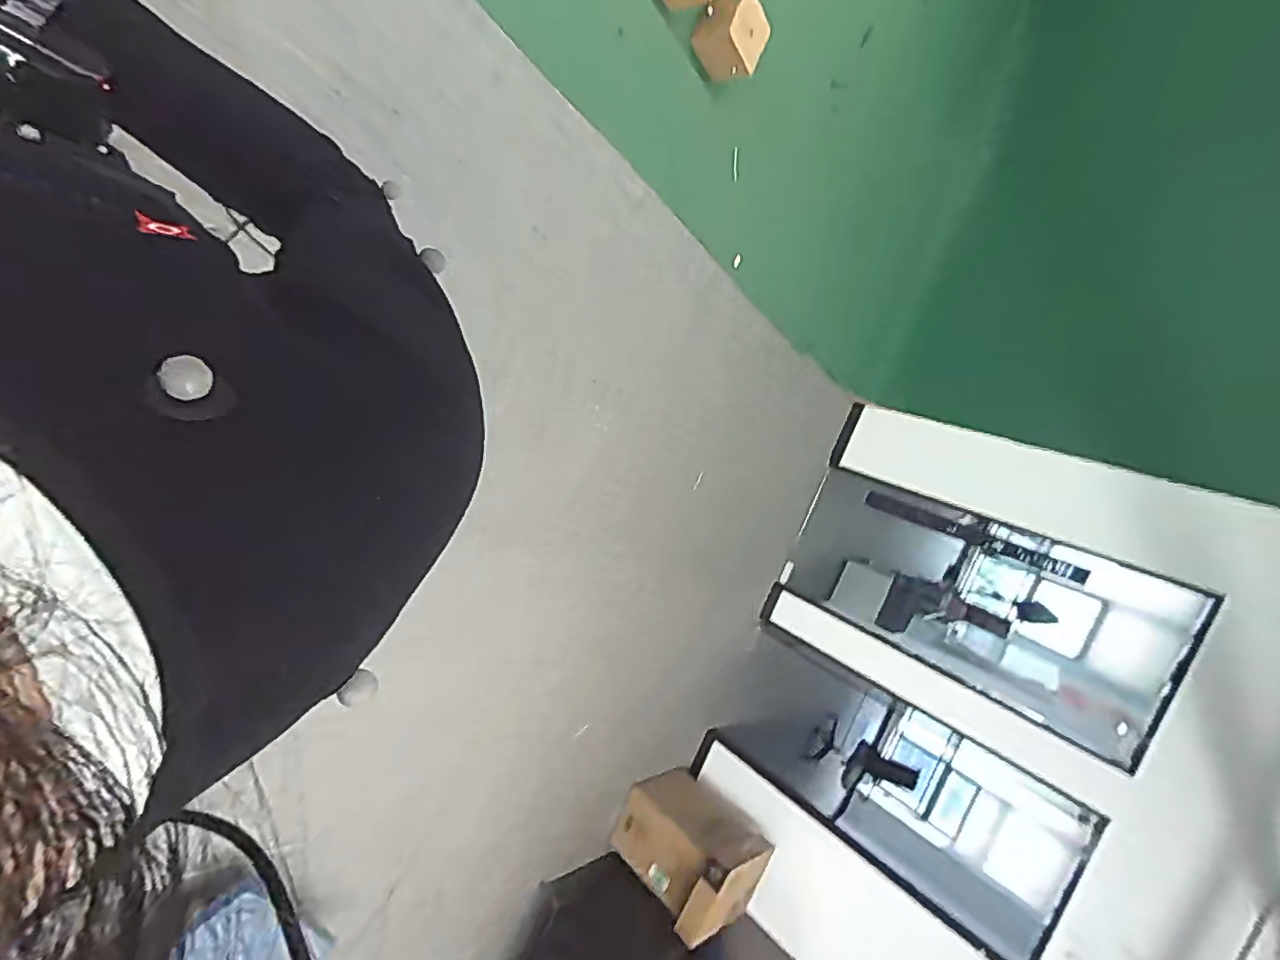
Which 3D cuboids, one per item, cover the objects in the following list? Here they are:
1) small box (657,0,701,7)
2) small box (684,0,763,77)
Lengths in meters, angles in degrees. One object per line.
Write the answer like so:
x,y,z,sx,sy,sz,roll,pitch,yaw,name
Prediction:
0.121,-1.561,1.599,0.168,0.176,0.179,19,96,-52,small box
0.280,-1.496,1.814,0.179,0.176,0.168,23,92,-52,small box
